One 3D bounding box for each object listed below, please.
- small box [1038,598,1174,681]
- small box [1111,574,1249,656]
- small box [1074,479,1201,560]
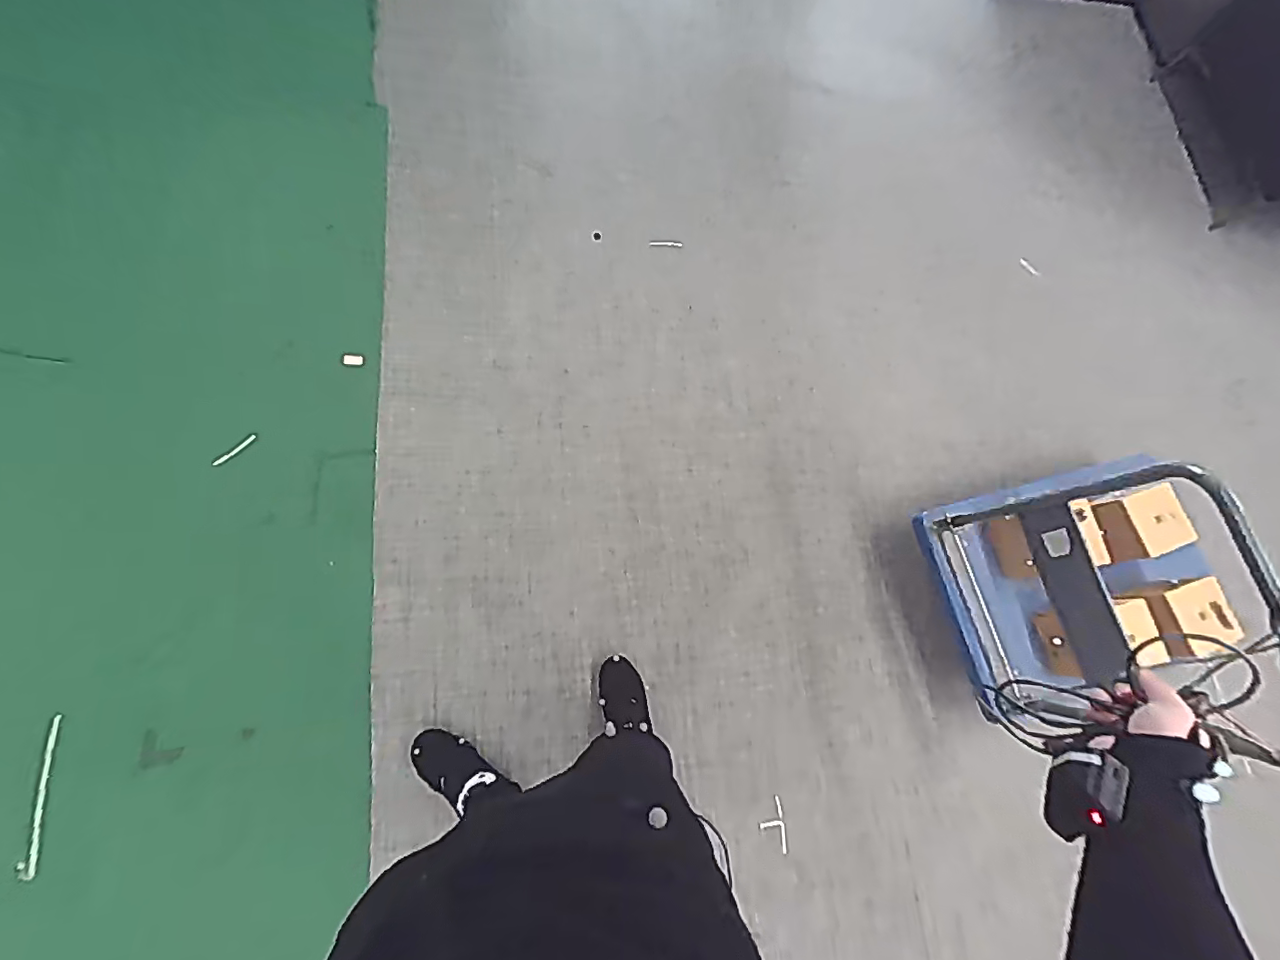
[{"bbox_3d":[1.182,0.403,1.385,0.179,0.176,0.168,-11,77,-11],"label":"small box"},{"bbox_3d":[1.417,0.356,1.433,0.179,0.176,0.168,-14,77,-12],"label":"small box"},{"bbox_3d":[1.353,0.114,1.489,0.179,0.176,0.168,-16,79,-13],"label":"small box"}]
